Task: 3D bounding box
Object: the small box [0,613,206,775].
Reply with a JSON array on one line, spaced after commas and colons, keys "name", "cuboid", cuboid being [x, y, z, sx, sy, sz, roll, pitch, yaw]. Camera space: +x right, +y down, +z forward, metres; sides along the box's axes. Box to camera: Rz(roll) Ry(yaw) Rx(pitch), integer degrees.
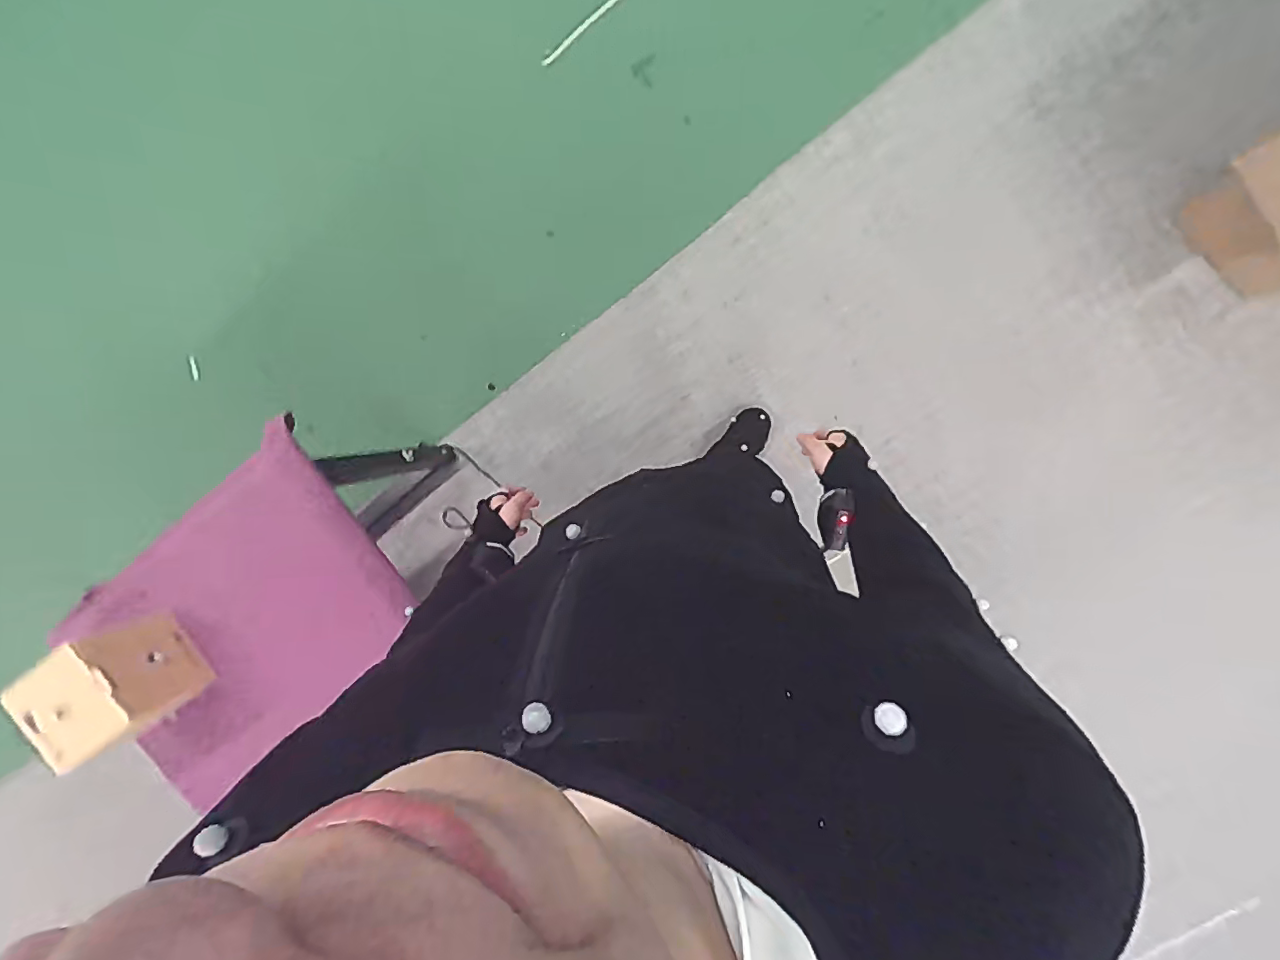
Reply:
[{"name": "small box", "cuboid": [-0.924, 0.363, 0.954, 0.179, 0.176, 0.168, -36, 92, 6]}]
